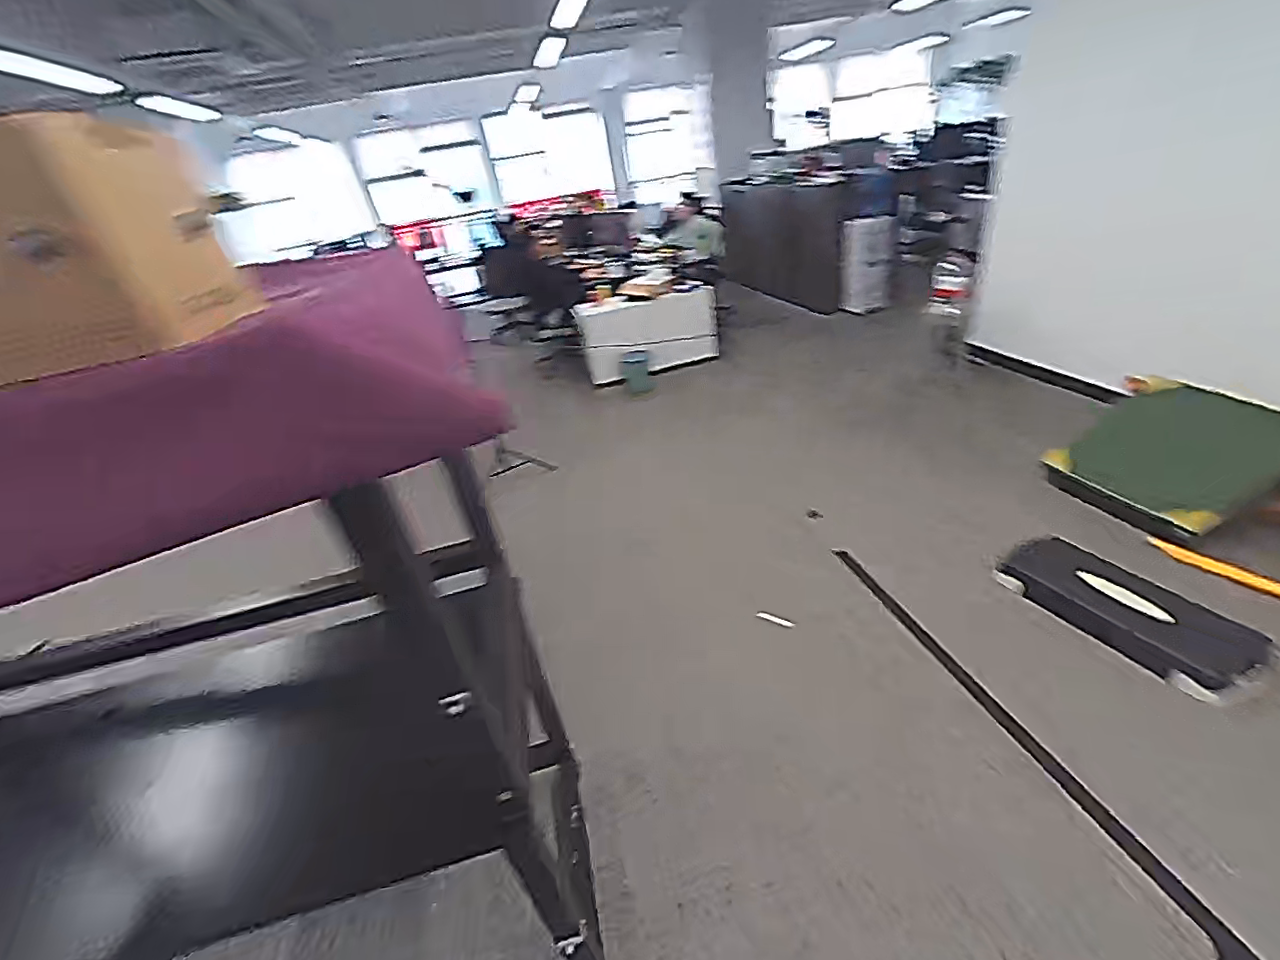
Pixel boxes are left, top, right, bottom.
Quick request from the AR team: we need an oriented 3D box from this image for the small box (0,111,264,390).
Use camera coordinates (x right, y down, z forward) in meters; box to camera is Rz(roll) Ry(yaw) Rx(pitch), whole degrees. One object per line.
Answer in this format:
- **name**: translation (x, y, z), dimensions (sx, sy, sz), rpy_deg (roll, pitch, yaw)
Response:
- **small box**: translation (-0.472, -0.191, 0.458), dimensions (0.179, 0.176, 0.168), rpy_deg (-12, 29, -2)
